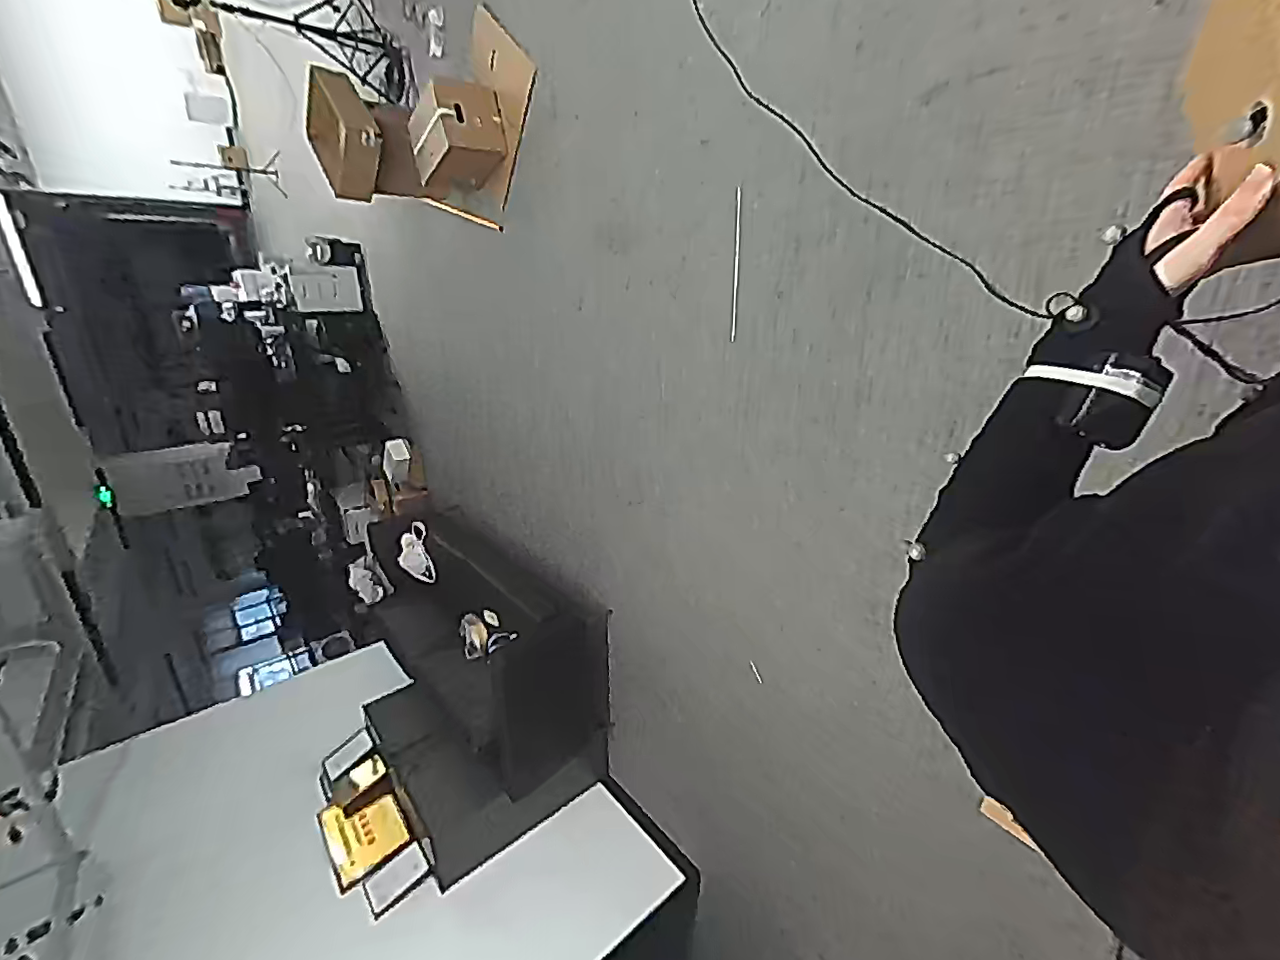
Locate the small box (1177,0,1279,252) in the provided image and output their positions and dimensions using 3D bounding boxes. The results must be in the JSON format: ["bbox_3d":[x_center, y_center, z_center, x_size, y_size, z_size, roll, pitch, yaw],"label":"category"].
[{"bbox_3d":[0.480,-0.269,0.343,0.168,0.176,0.179,-4,83,33],"label":"small box"}]
